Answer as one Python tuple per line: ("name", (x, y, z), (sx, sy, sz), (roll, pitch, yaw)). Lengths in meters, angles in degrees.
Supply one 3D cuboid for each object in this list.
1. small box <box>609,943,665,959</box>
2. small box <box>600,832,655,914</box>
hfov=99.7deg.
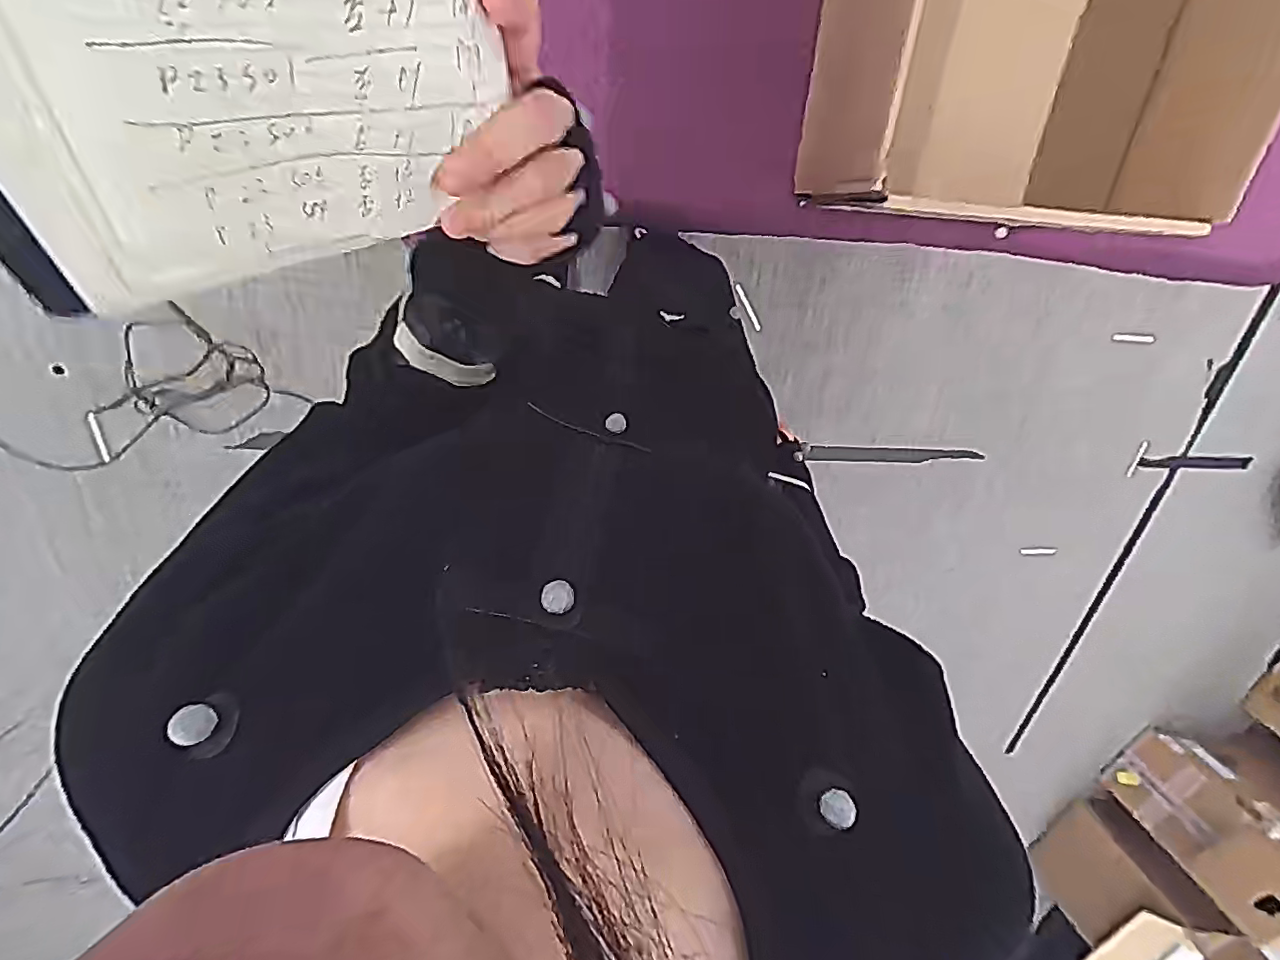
("small box", (-0.004, 1.488, 1.564), (0.168, 0.176, 0.179), (-1, 117, -11))
("small box", (-0.050, 1.336, 1.853), (0.168, 0.176, 0.179), (-2, 118, -9))
